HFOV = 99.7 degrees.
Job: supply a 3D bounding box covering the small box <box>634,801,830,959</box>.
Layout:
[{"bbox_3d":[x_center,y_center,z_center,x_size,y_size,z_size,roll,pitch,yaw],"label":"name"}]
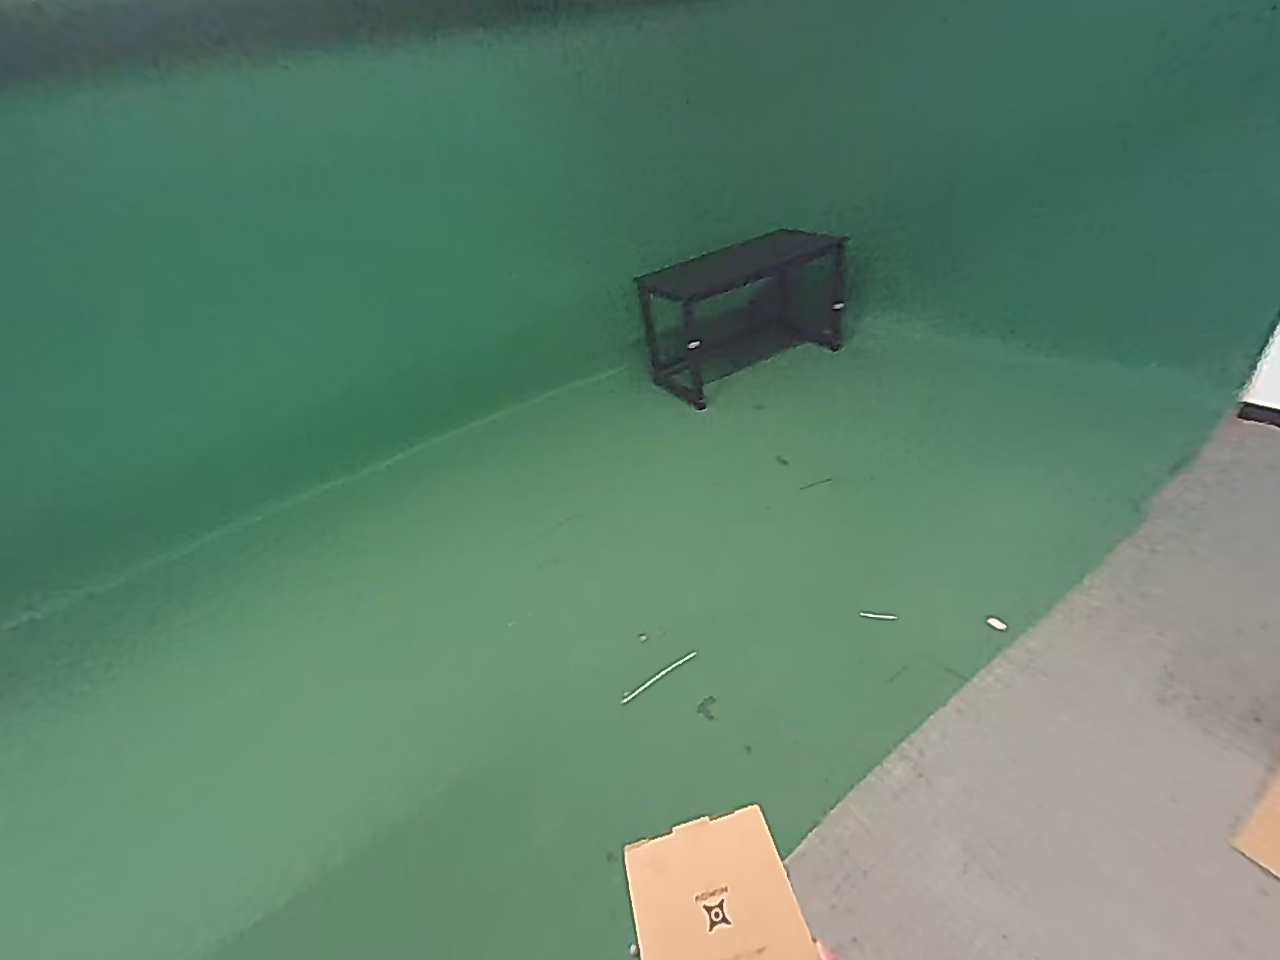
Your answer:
[{"bbox_3d":[0.097,0.496,0.583,0.168,0.176,0.179,-14,30,-4],"label":"small box"}]
